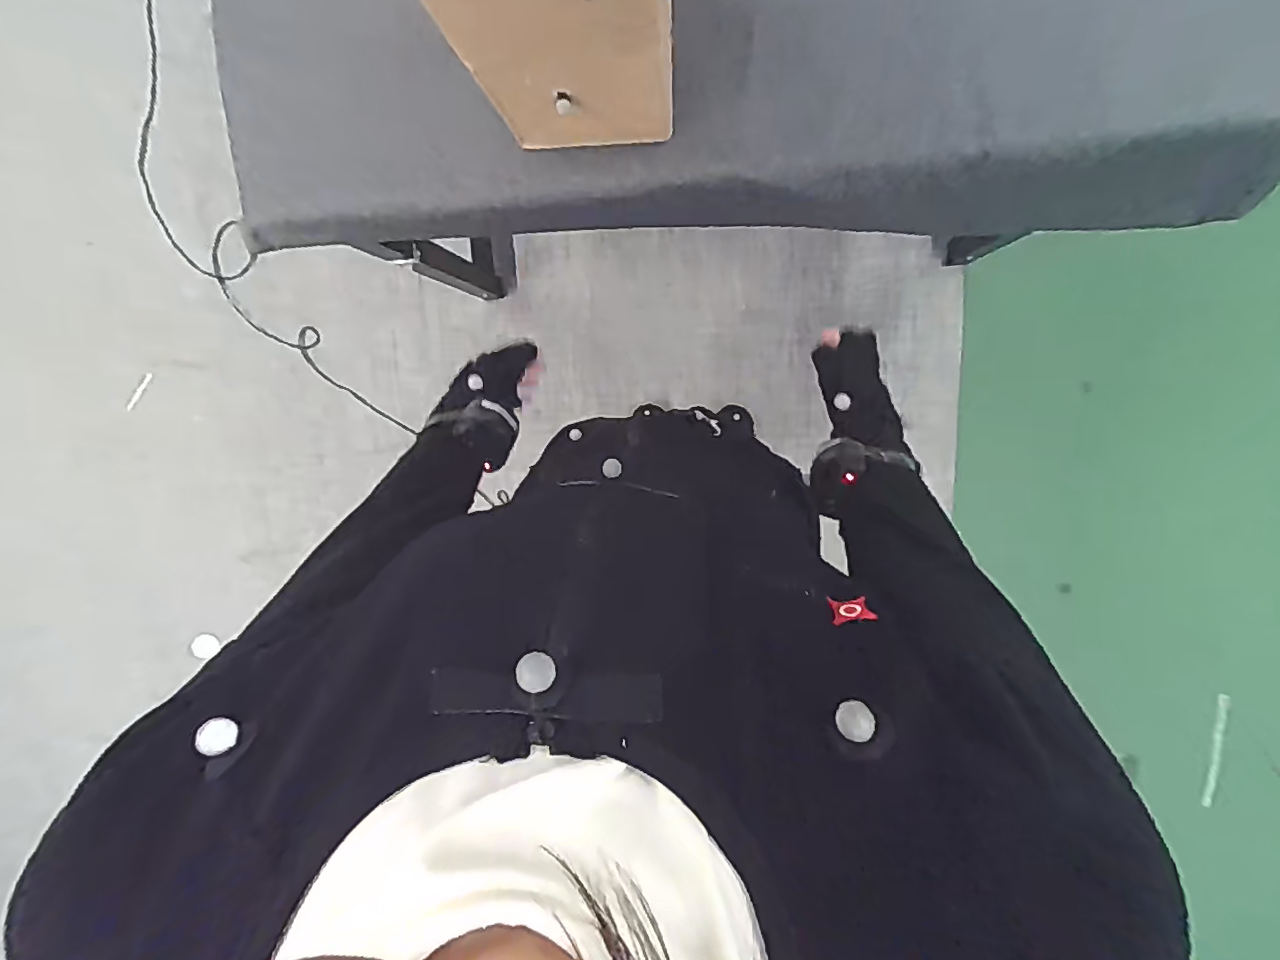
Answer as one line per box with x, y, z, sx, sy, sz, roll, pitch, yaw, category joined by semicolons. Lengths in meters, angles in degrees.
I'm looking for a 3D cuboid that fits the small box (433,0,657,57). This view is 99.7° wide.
-0.076;-0.444;0.381;0.179;0.176;0.168;0;97;8;small box

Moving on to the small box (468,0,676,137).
-0.058;-0.470;0.540;0.179;0.176;0.168;0;98;7;small box
